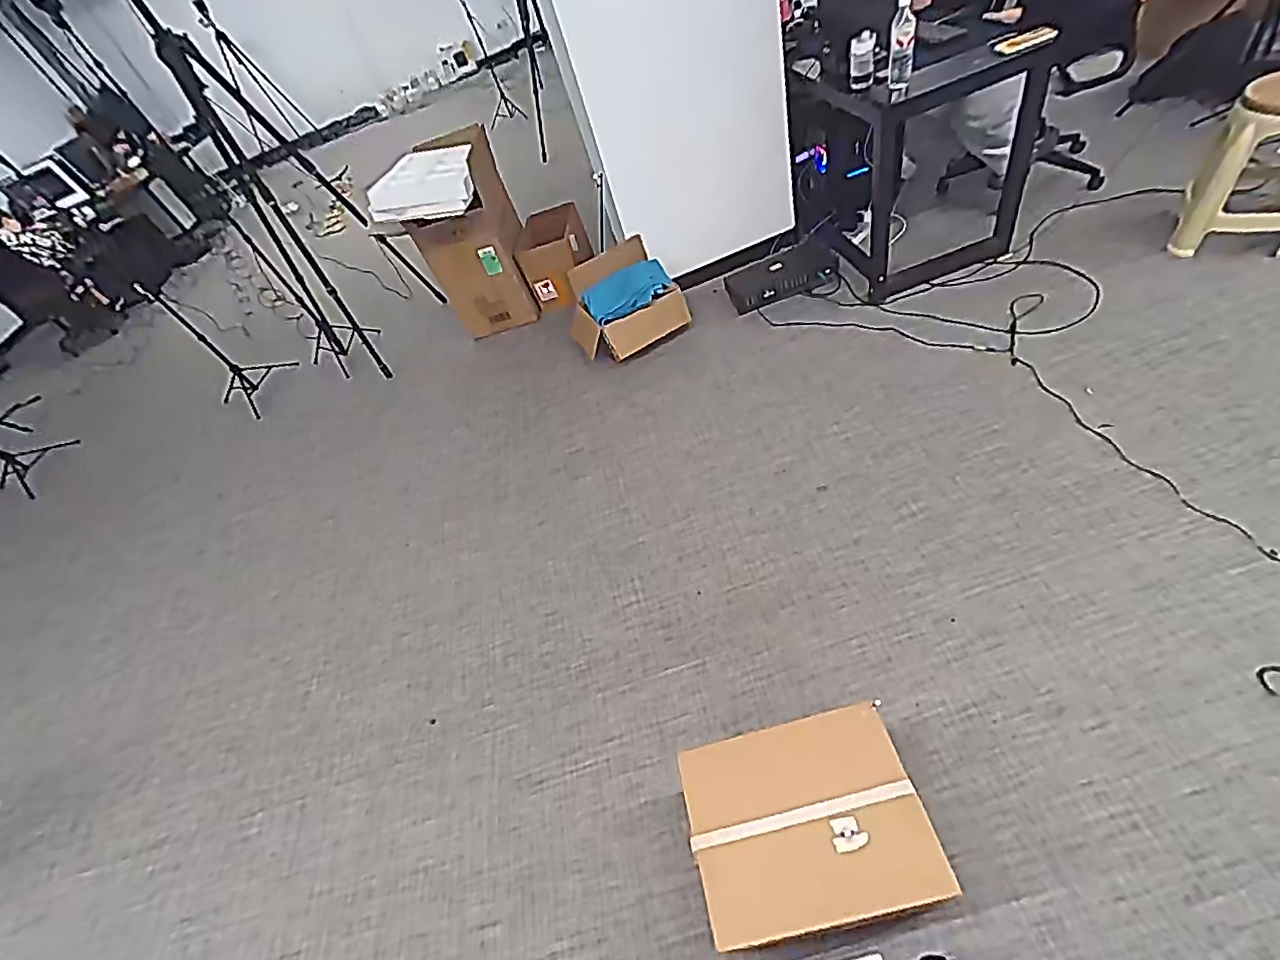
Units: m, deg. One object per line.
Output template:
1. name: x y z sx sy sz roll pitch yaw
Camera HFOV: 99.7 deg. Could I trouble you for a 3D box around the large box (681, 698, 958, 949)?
1. large box: 0.334 0.692 1.082 0.408 0.320 0.320 -18 48 5
